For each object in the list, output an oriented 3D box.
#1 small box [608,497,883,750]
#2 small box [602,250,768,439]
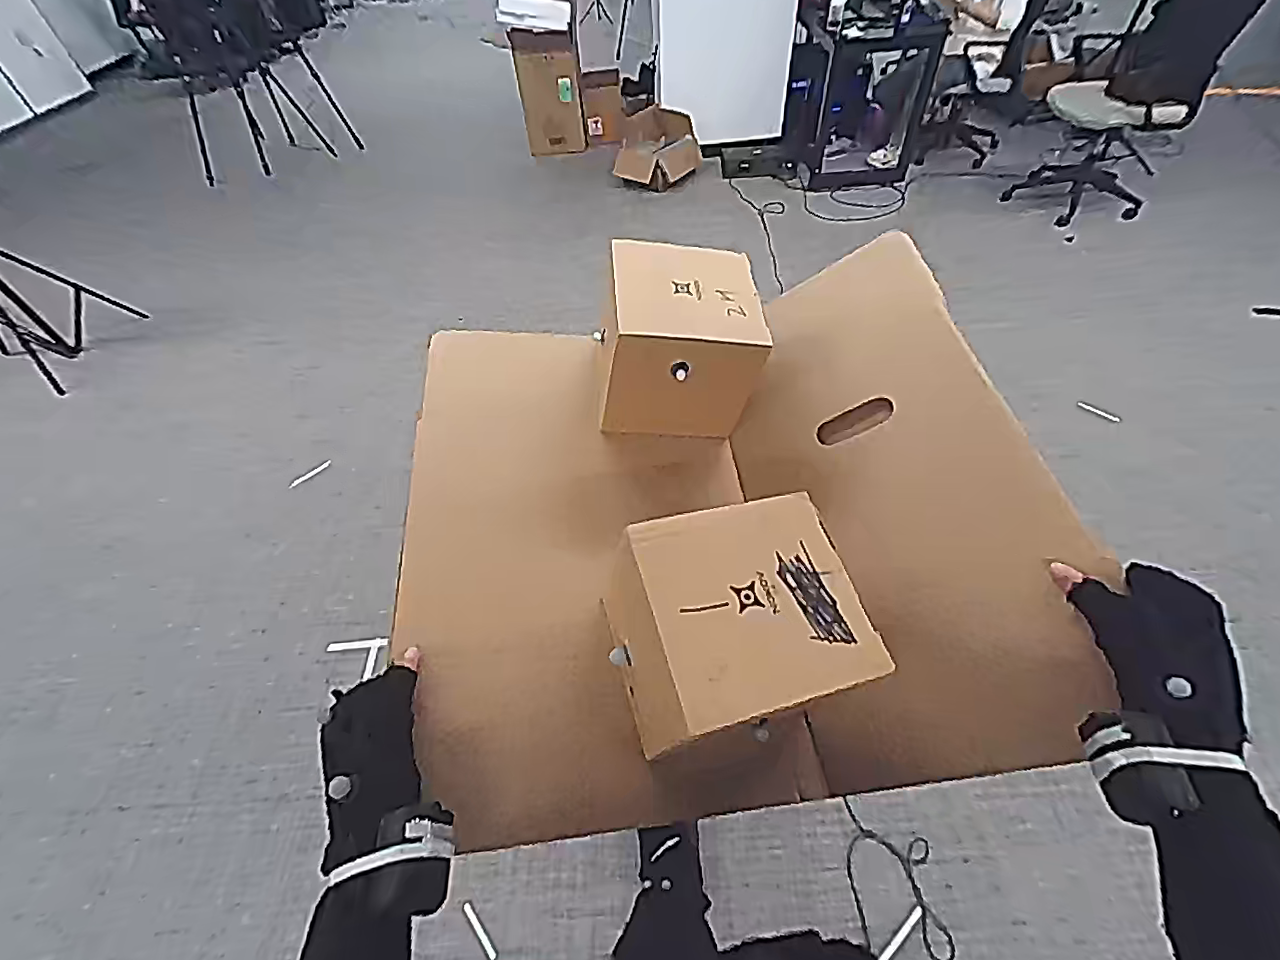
[{"bbox_3d":[0.079,0.138,0.508,0.179,0.176,0.168,-9,60,-16],"label":"small box"},{"bbox_3d":[0.042,-0.167,0.701,0.179,0.176,0.168,3,57,-10],"label":"small box"}]
